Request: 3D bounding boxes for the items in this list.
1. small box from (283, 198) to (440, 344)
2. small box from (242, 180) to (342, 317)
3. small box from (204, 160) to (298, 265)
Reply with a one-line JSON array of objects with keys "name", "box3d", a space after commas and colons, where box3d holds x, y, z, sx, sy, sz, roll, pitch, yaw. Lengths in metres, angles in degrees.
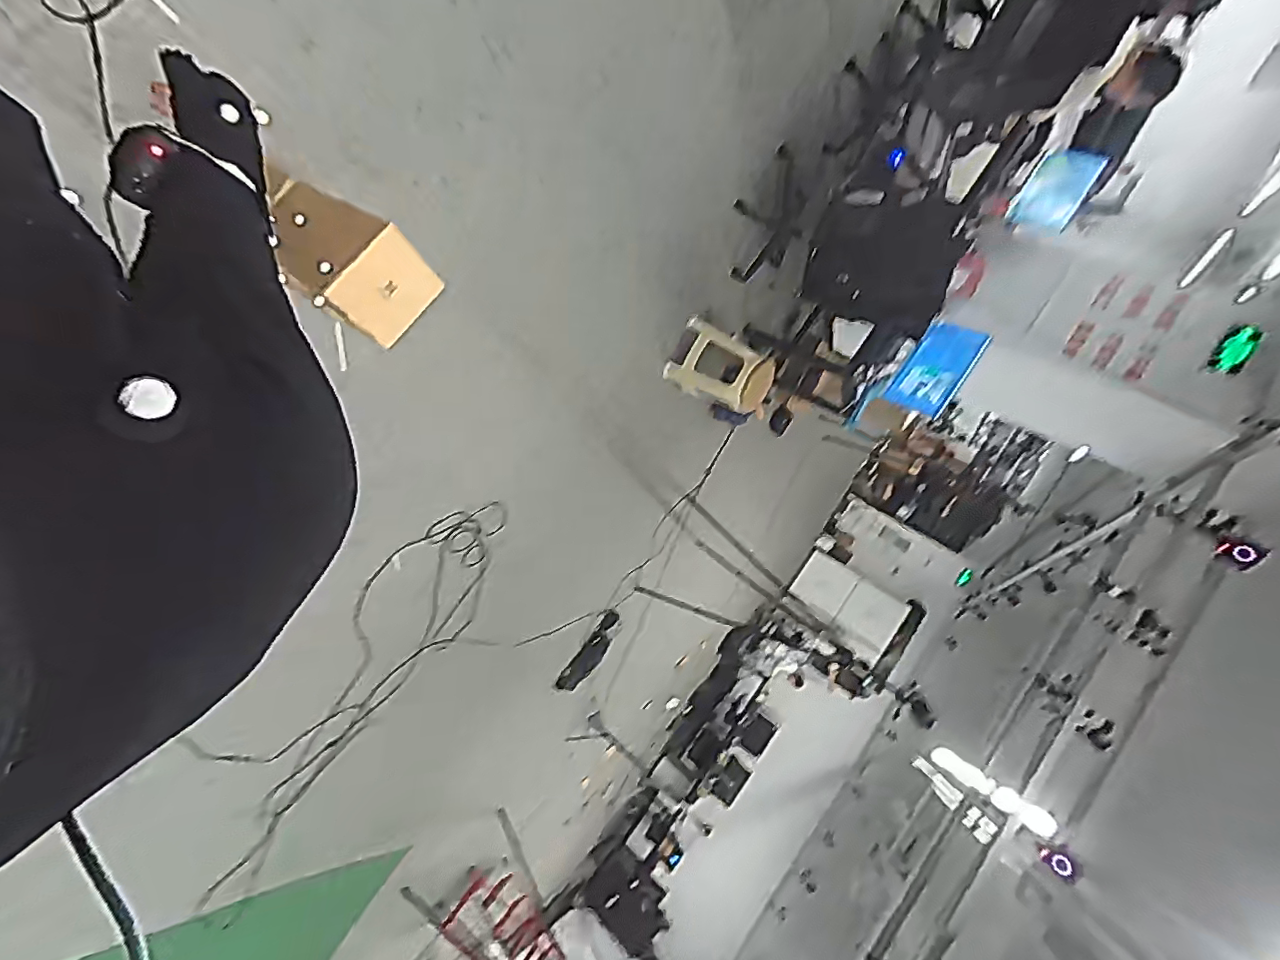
[{"name": "small box", "box3d": [-0.535, -0.404, 1.040, 0.179, 0.176, 0.168, -52, 154, -8]}, {"name": "small box", "box3d": [-0.662, -0.477, 1.110, 0.179, 0.176, 0.168, -52, 154, -9]}, {"name": "small box", "box3d": [-0.787, -0.562, 1.176, 0.168, 0.176, 0.179, -52, 154, -8]}]
